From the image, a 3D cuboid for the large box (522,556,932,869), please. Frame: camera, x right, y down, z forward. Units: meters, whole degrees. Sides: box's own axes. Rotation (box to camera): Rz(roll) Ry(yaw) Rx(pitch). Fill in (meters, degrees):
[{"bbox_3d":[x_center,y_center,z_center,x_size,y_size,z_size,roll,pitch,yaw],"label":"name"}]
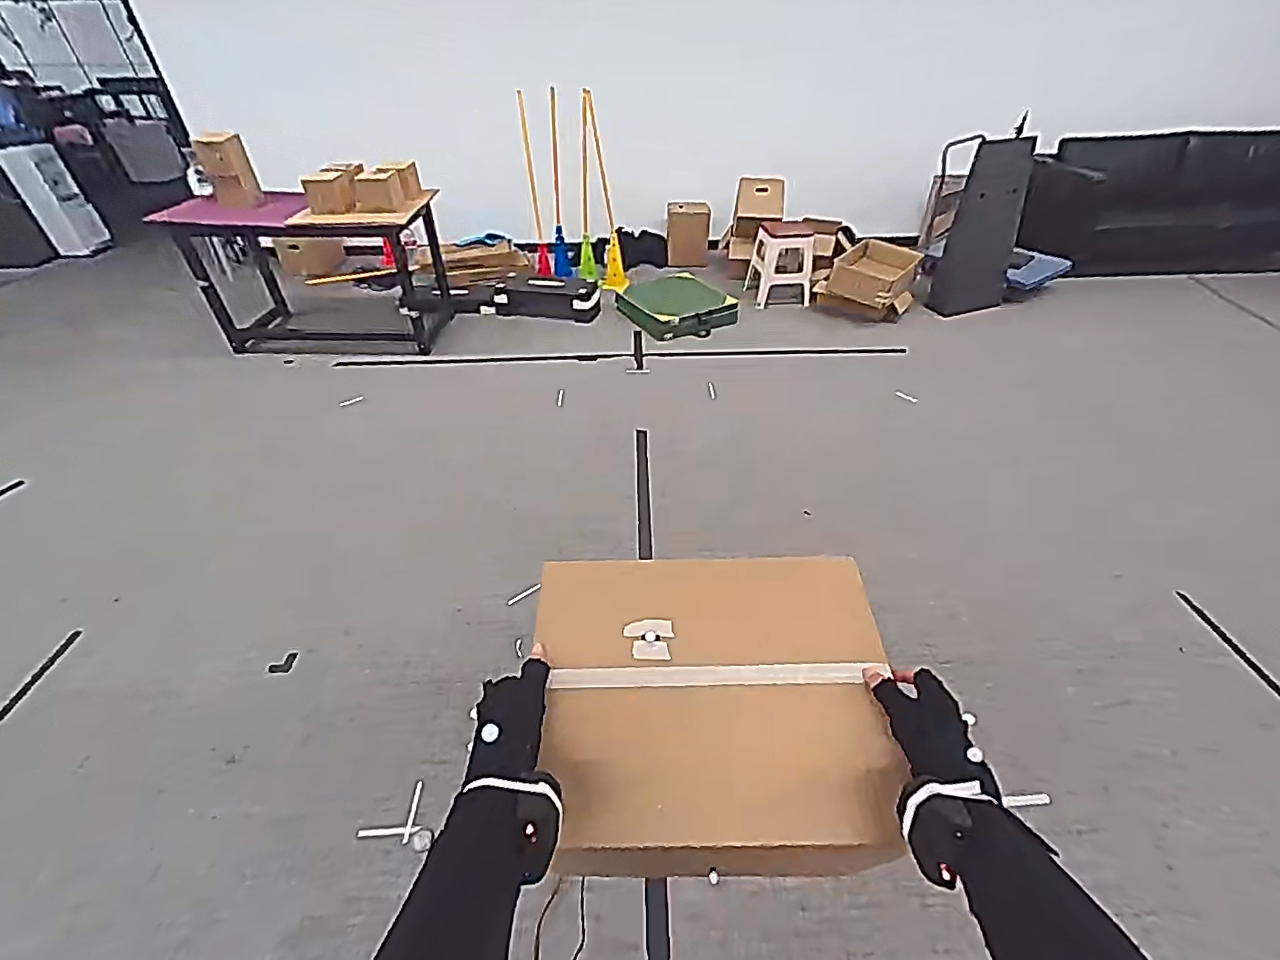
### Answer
[{"bbox_3d":[0.088,0.320,0.727,0.408,0.320,0.320,-2,49,1],"label":"large box"}]
